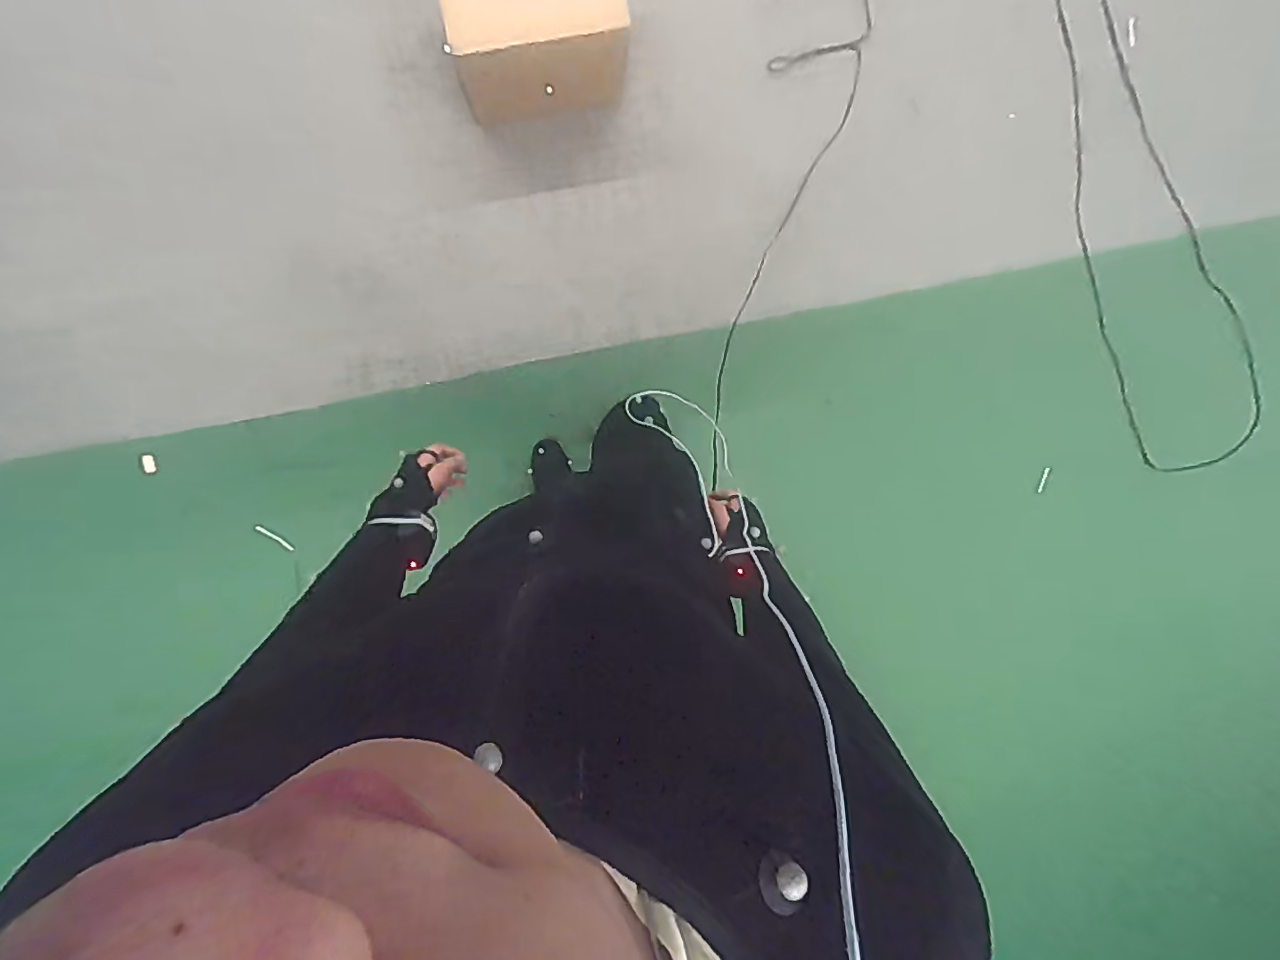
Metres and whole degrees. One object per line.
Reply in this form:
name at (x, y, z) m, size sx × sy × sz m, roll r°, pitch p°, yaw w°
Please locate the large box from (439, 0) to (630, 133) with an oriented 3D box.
large box at (-0.260, -1.124, 1.329) m, size 0.408 × 0.320 × 0.320 m, roll -14°, pitch 98°, yaw -3°
